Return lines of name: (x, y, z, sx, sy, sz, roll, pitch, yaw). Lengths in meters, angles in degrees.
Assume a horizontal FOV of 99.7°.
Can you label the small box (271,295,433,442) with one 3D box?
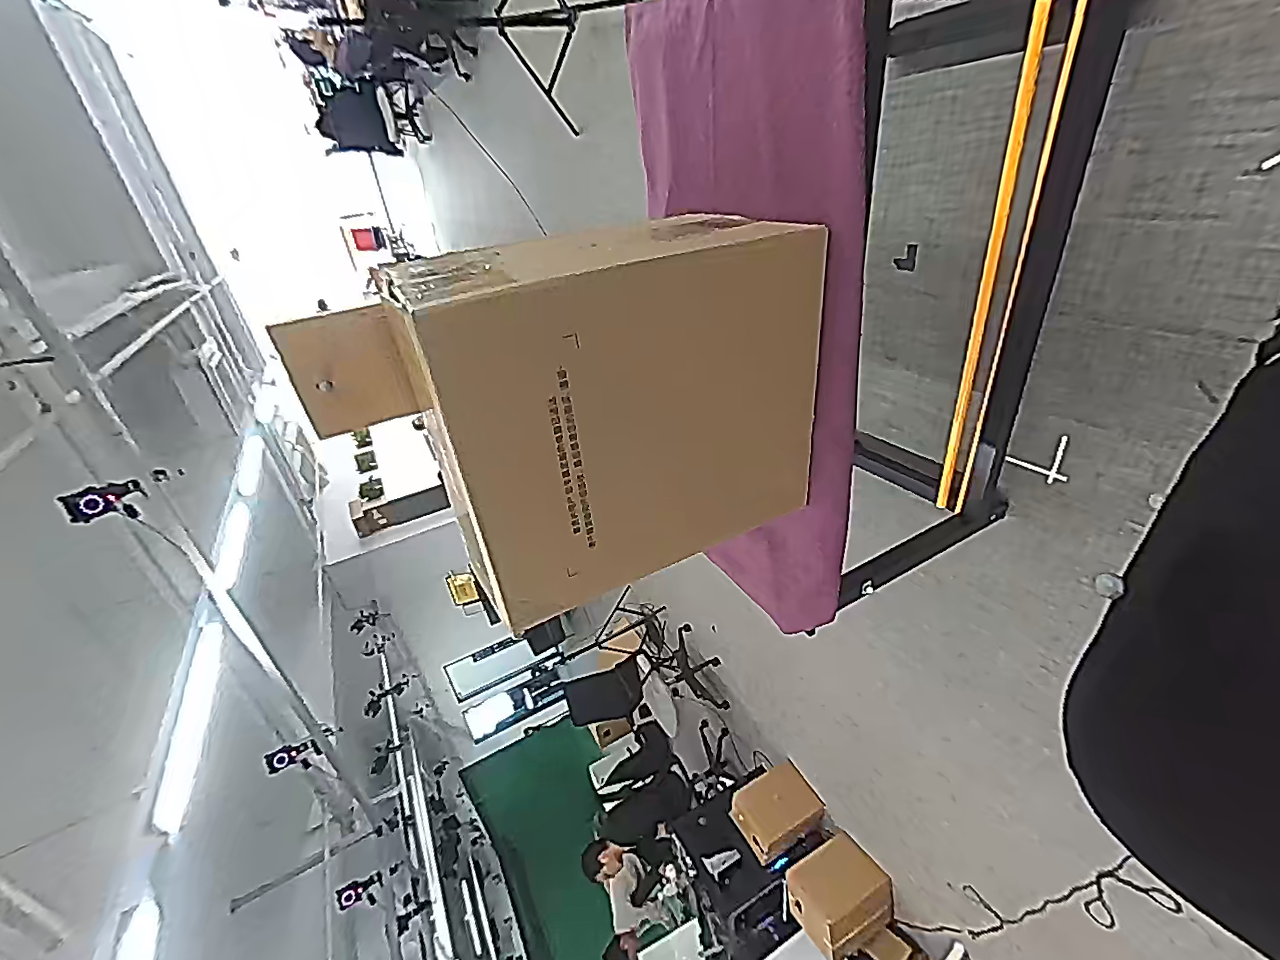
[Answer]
small box: (-0.452, -0.188, 0.863, 0.168, 0.176, 0.179, 37, 144, 55)
